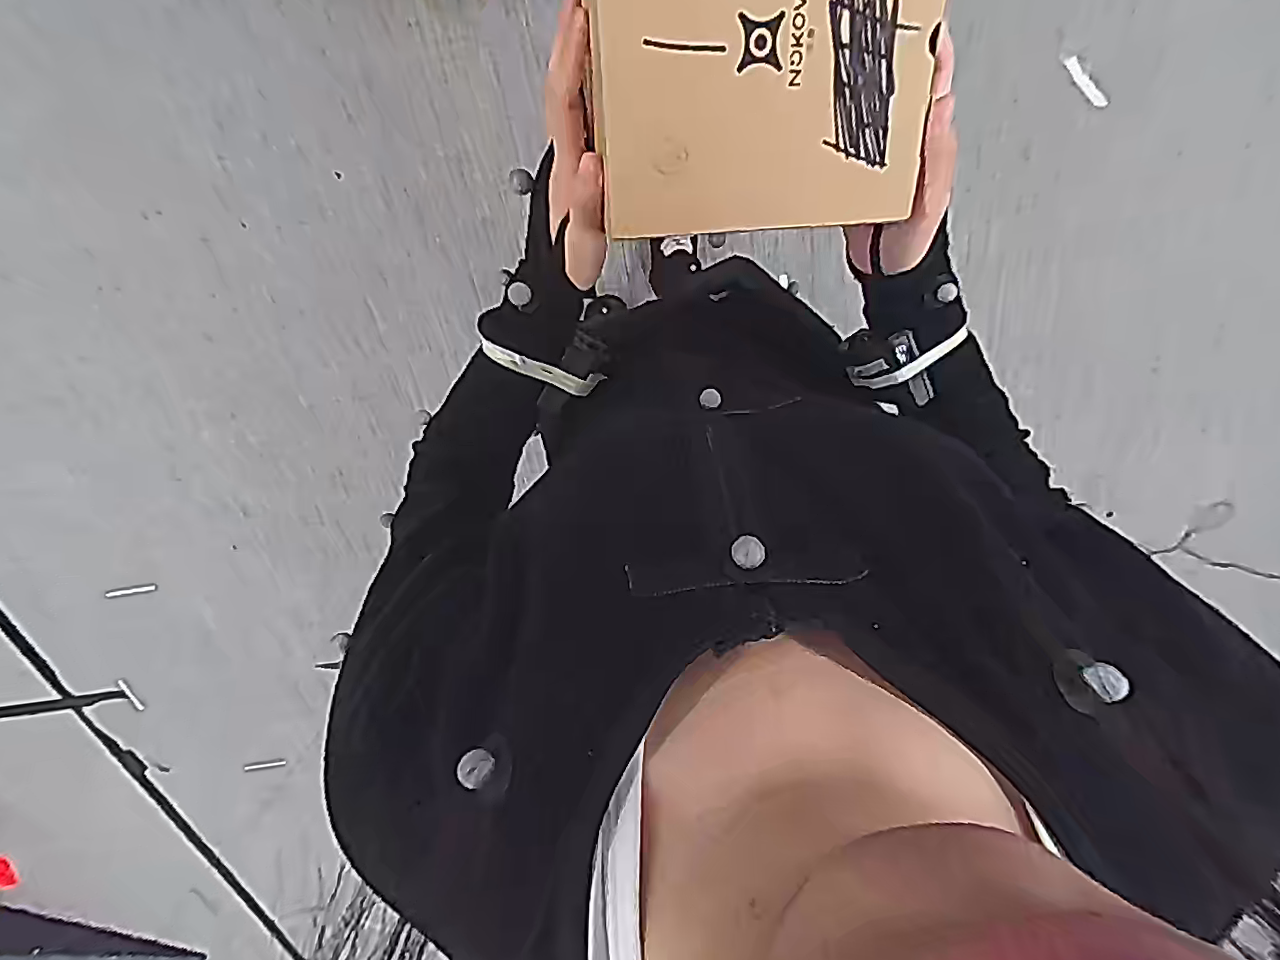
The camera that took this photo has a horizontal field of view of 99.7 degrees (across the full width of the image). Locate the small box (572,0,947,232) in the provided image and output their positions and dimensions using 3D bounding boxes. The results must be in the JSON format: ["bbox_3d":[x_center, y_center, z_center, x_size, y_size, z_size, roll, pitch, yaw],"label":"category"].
[{"bbox_3d":[0.055,-0.253,0.331,0.179,0.176,0.168,-6,120,-6],"label":"small box"}]
